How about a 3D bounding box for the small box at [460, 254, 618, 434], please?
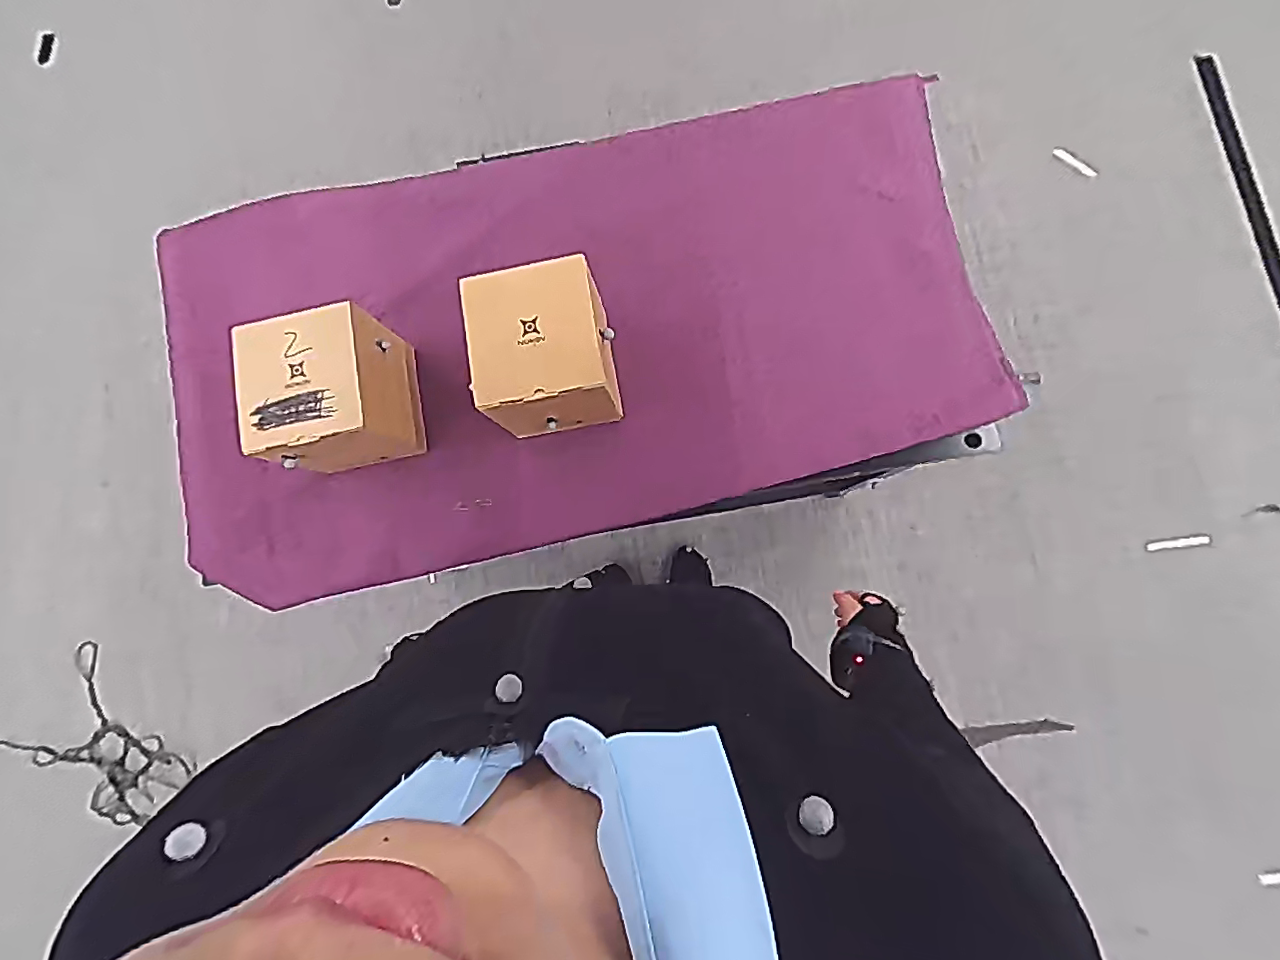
[{"bbox_3d":[-0.130,-0.177,0.749,0.168,0.176,0.179,-10,82,4],"label":"small box"}]
